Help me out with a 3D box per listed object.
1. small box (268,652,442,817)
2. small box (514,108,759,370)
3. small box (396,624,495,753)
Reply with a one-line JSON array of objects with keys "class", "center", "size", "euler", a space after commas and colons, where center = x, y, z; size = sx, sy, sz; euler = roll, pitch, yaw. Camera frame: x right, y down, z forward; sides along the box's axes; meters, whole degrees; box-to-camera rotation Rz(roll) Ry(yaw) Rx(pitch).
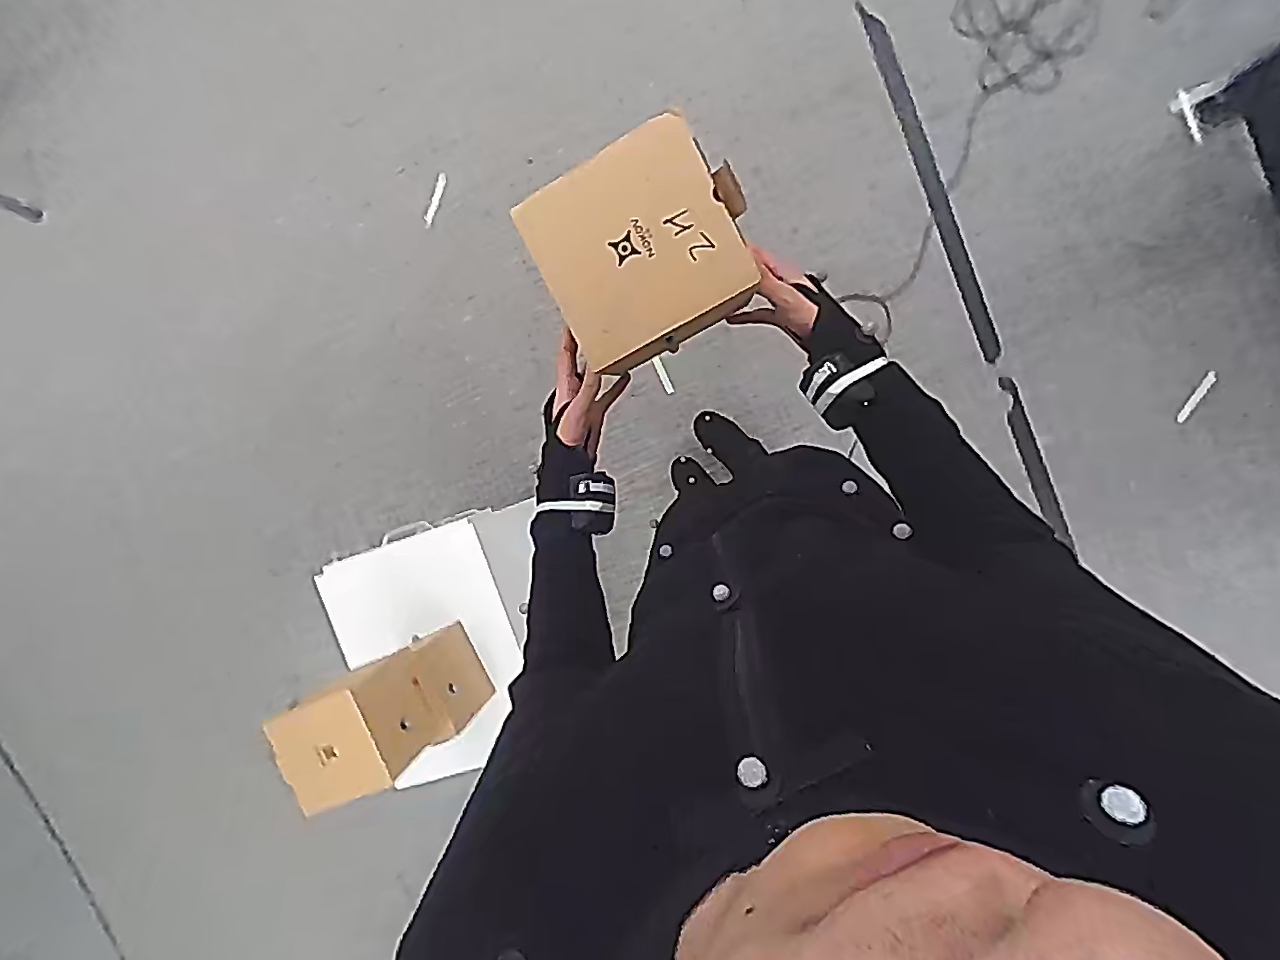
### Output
[{"class": "small box", "center": [-0.465, 0.419, 0.916], "size": [0.179, 0.176, 0.168], "euler": [-24, 92, 11]}, {"class": "small box", "center": [0.004, -0.224, 0.562], "size": [0.179, 0.176, 0.168], "euler": [-27, 96, 10]}, {"class": "small box", "center": [-0.419, 0.418, 1.075], "size": [0.168, 0.176, 0.179], "euler": [-27, 91, 10]}]
